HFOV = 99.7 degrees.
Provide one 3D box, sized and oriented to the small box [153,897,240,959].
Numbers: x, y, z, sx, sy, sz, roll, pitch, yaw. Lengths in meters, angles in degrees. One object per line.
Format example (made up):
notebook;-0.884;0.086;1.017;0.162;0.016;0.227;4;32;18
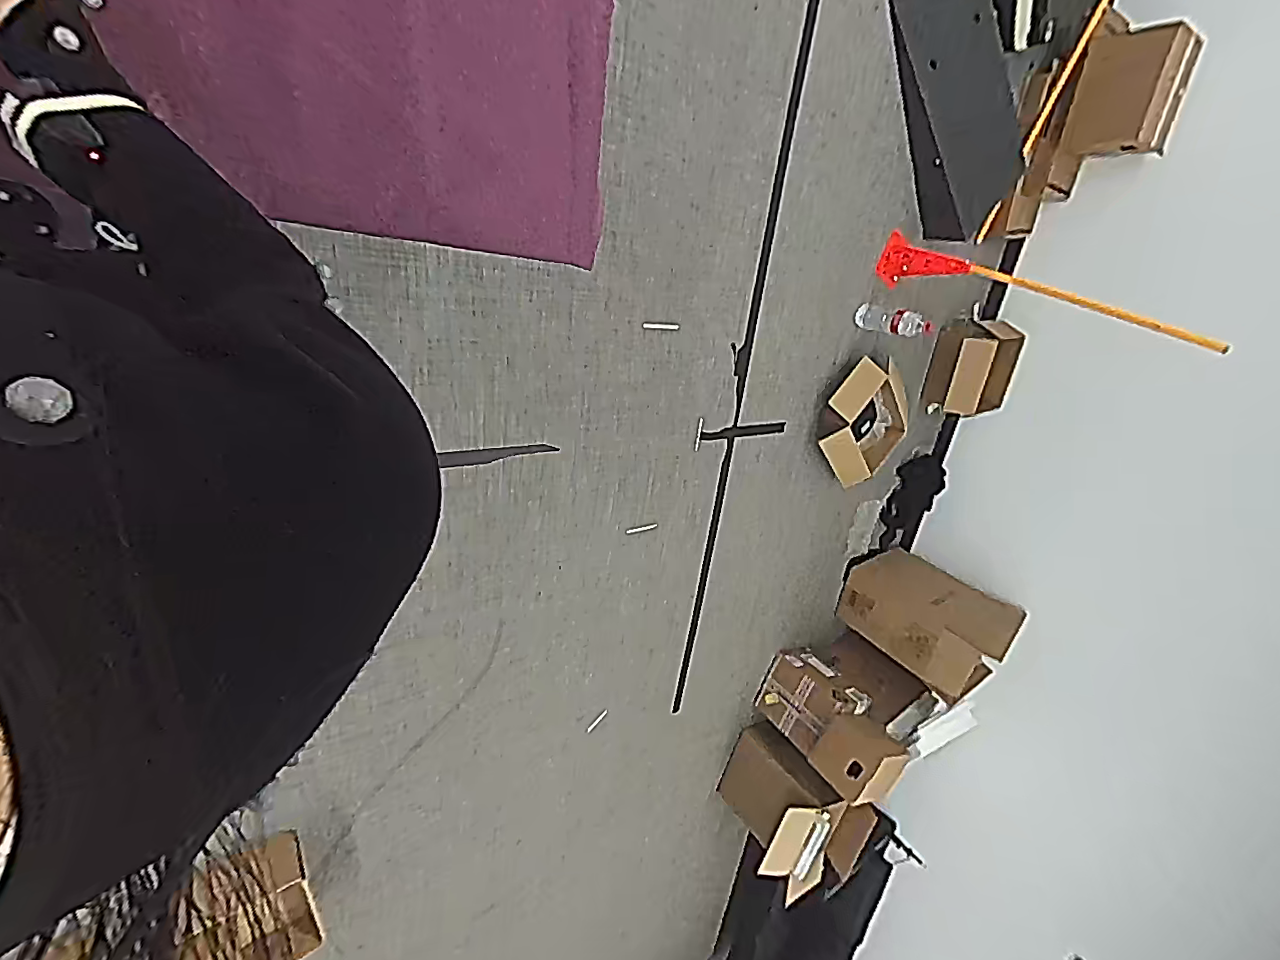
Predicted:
small box;-1.315;1.403;1.610;0.168;0.176;0.179;-20;124;-31
